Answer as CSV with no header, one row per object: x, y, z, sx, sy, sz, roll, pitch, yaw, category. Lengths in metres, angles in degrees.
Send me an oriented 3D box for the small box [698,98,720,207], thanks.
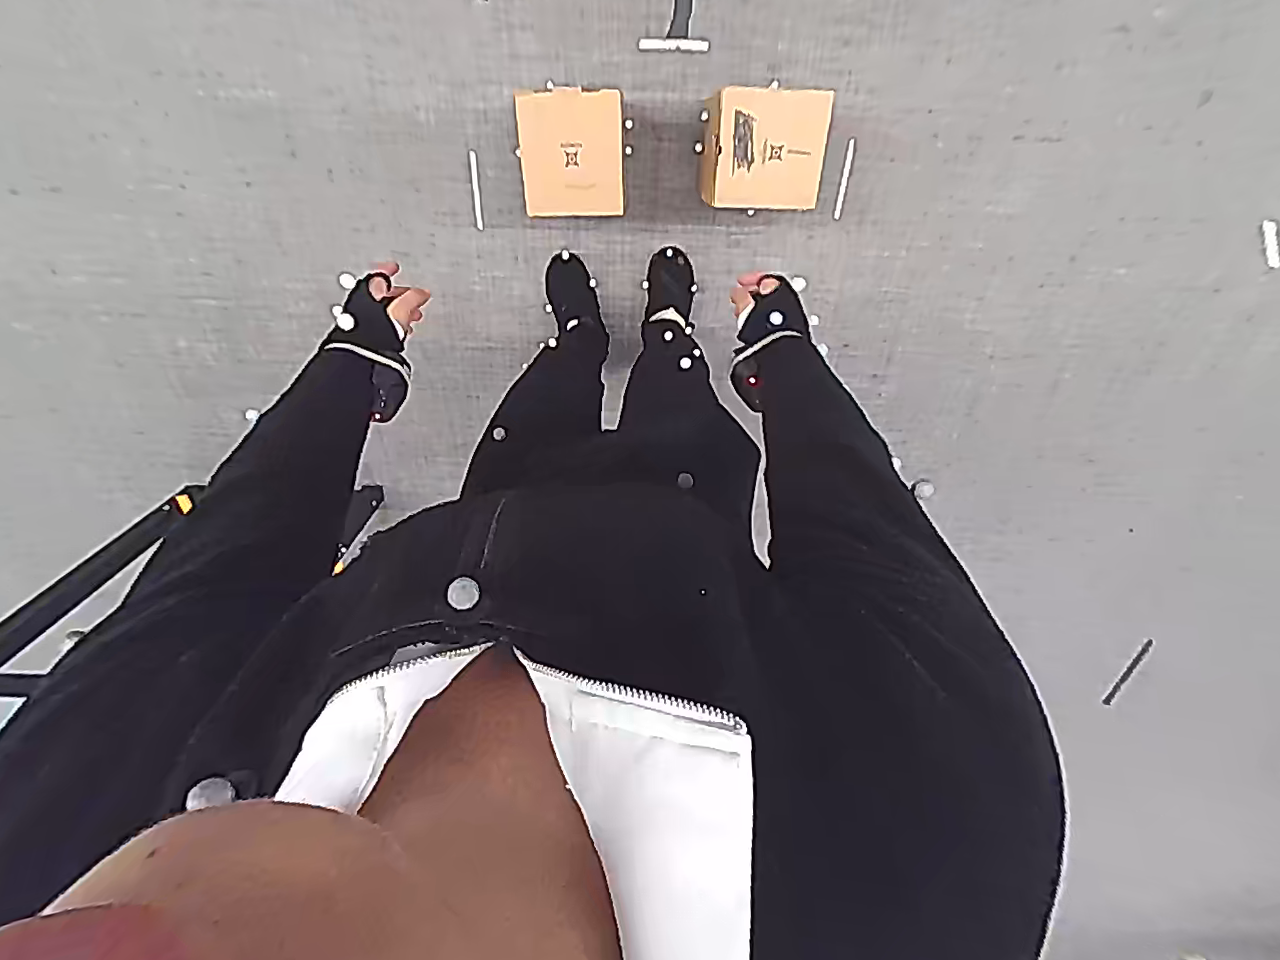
0.212,-0.648,1.078,0.168,0.176,0.179,2,123,-3,small box

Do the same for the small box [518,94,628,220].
-0.106,-0.557,0.940,0.168,0.176,0.179,0,123,2,small box

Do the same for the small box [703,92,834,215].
0.209,-0.561,0.938,0.179,0.176,0.168,1,121,-2,small box
